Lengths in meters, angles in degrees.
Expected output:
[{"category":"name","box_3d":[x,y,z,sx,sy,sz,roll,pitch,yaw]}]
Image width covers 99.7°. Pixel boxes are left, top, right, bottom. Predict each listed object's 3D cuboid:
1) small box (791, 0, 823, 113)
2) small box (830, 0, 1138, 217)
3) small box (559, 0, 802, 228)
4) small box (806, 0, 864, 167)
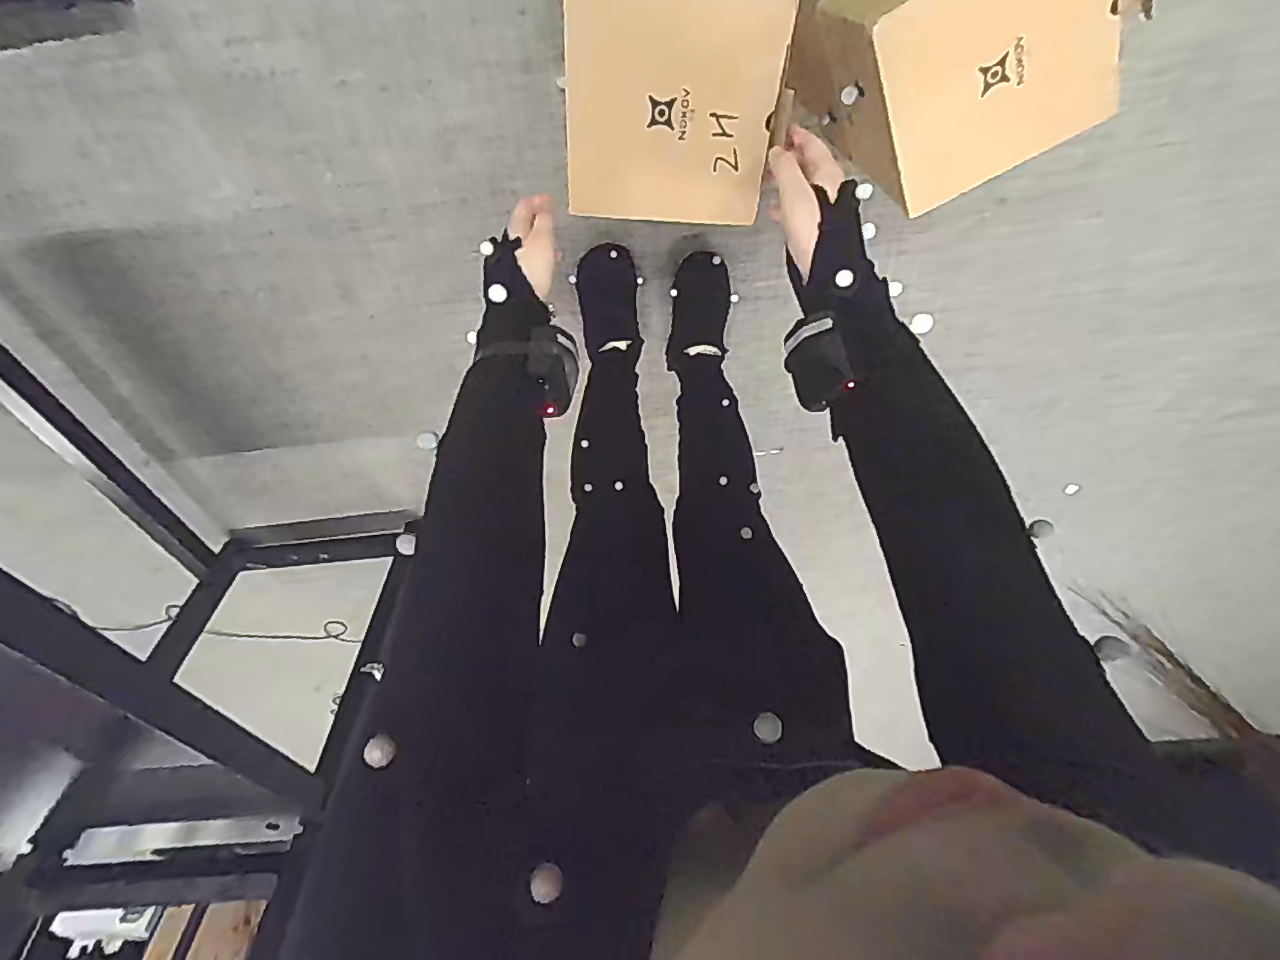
[{"category":"small box","box_3d":[0.299,-0.610,0.708,0.179,0.176,0.168,-11,134,7]},{"category":"small box","box_3d":[0.286,-0.377,0.480,0.179,0.176,0.168,-24,131,19]},{"category":"small box","box_3d":[0.025,-0.348,0.492,0.179,0.176,0.168,2,134,-3]},{"category":"small box","box_3d":[0.297,-0.489,0.599,0.179,0.176,0.168,-21,133,16]}]
